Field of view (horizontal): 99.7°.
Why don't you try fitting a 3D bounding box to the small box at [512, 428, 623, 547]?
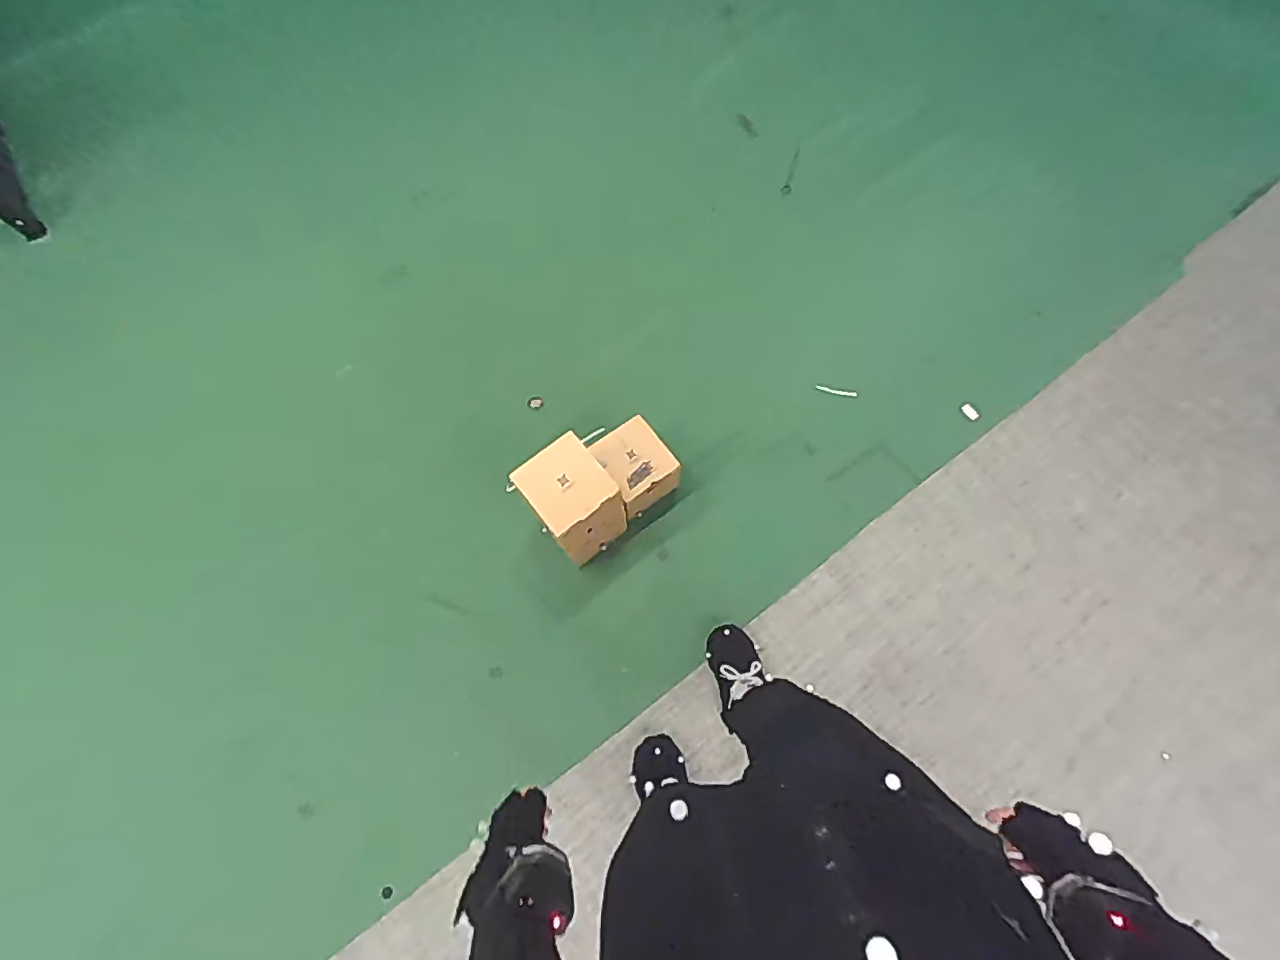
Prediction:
[{"bbox_3d":[-0.153,0.024,1.193,0.168,0.176,0.179,-38,76,-12],"label":"small box"}]
